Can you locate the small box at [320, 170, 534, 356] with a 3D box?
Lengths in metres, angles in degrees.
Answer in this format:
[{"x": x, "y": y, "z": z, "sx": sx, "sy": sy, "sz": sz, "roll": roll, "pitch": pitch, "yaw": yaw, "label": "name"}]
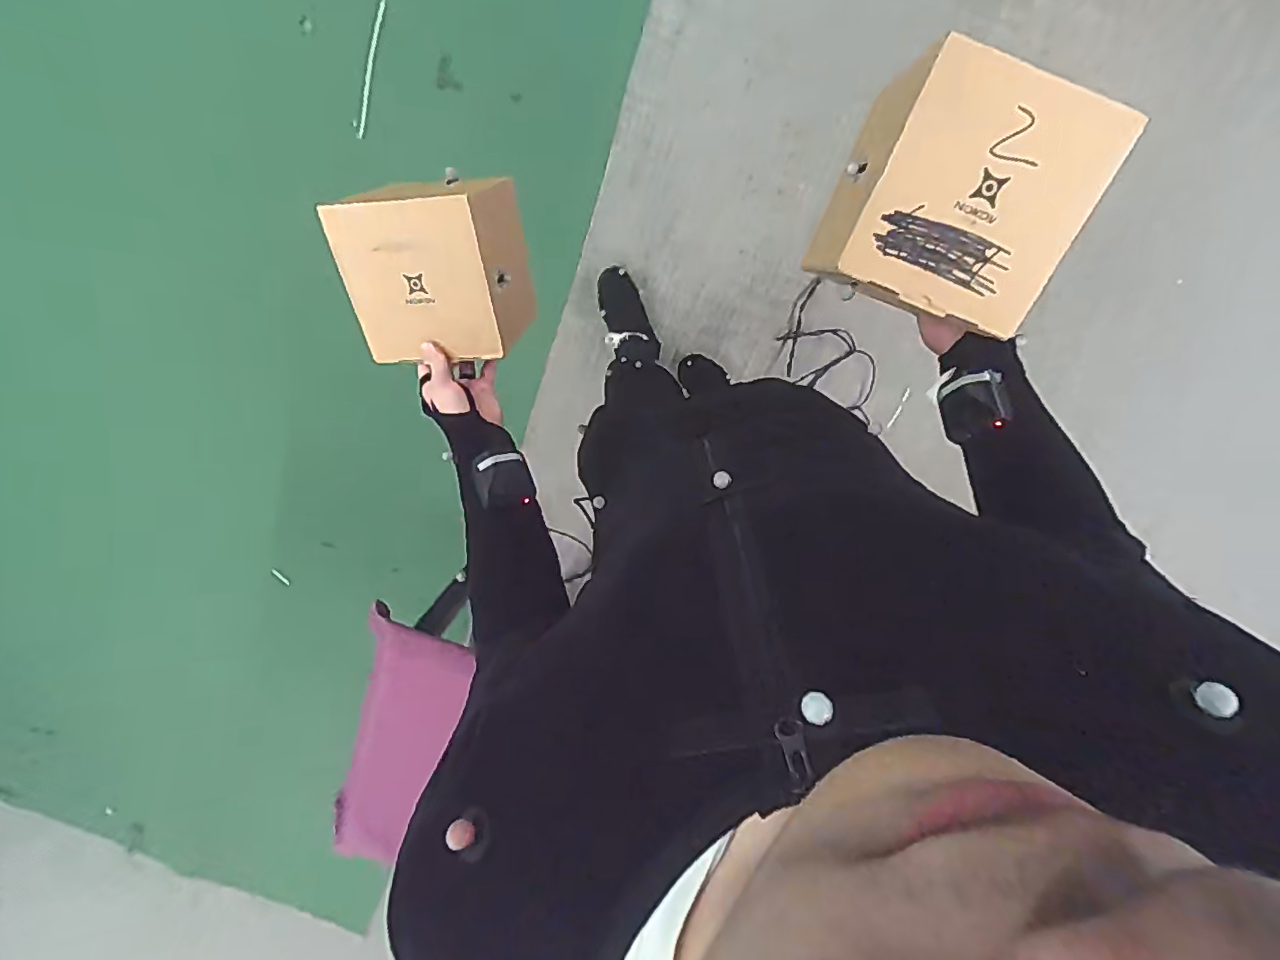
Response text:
[{"x": -0.237, "y": -0.267, "z": 0.659, "sx": 0.168, "sy": 0.176, "sz": 0.179, "roll": 0, "pitch": 125, "yaw": 6, "label": "small box"}]
